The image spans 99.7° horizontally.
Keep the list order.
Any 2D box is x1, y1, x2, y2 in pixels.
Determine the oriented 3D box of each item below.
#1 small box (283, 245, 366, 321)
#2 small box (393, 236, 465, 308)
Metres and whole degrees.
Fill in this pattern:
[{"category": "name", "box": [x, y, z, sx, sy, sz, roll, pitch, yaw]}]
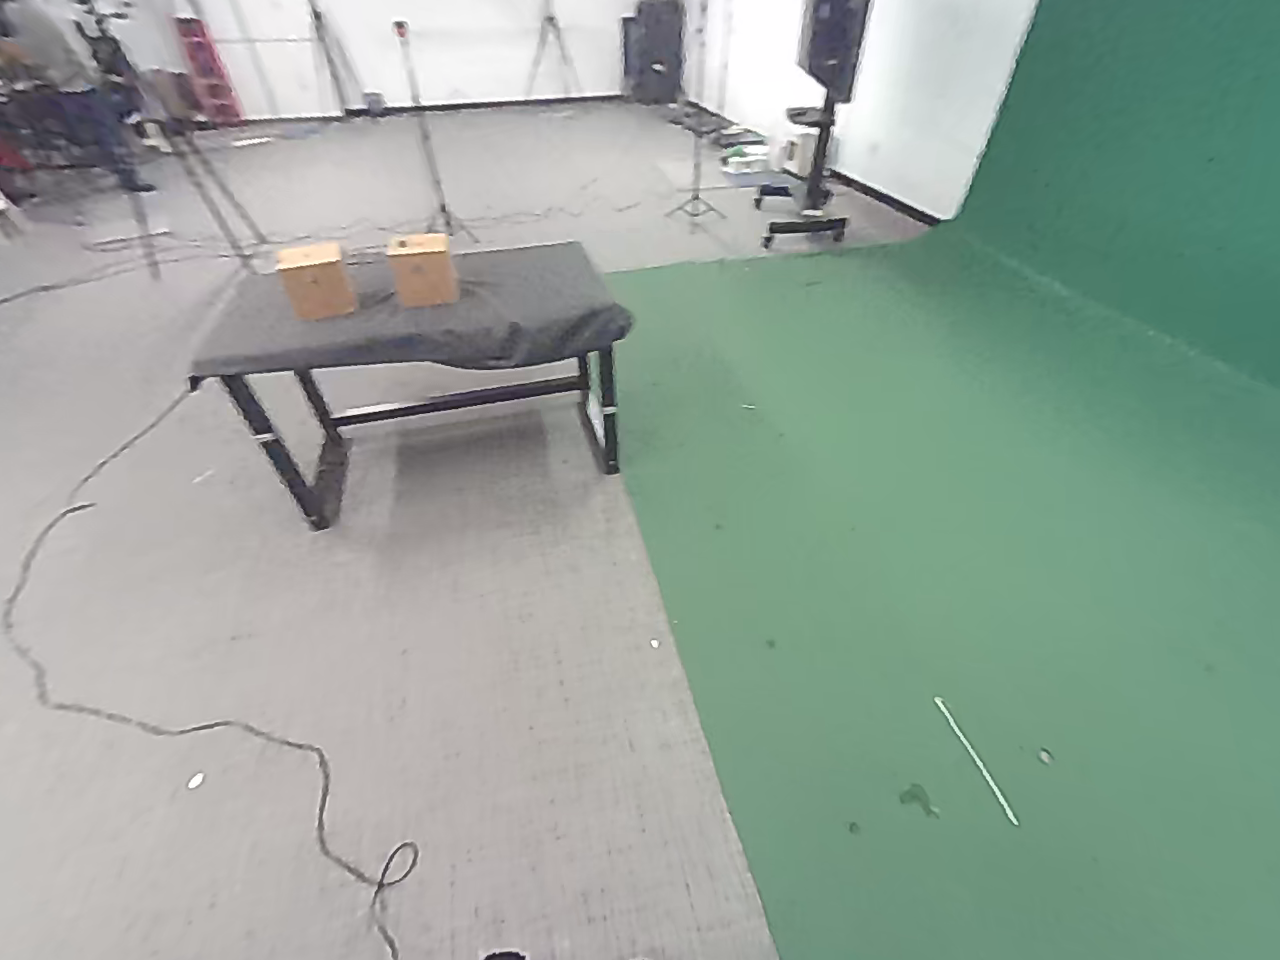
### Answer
[{"category": "small box", "box": [-0.980, -0.612, 1.688, 0.179, 0.176, 0.168, -16, 46, -18]}, {"category": "small box", "box": [-0.674, -0.669, 1.743, 0.179, 0.176, 0.168, -9, 43, -10]}]
